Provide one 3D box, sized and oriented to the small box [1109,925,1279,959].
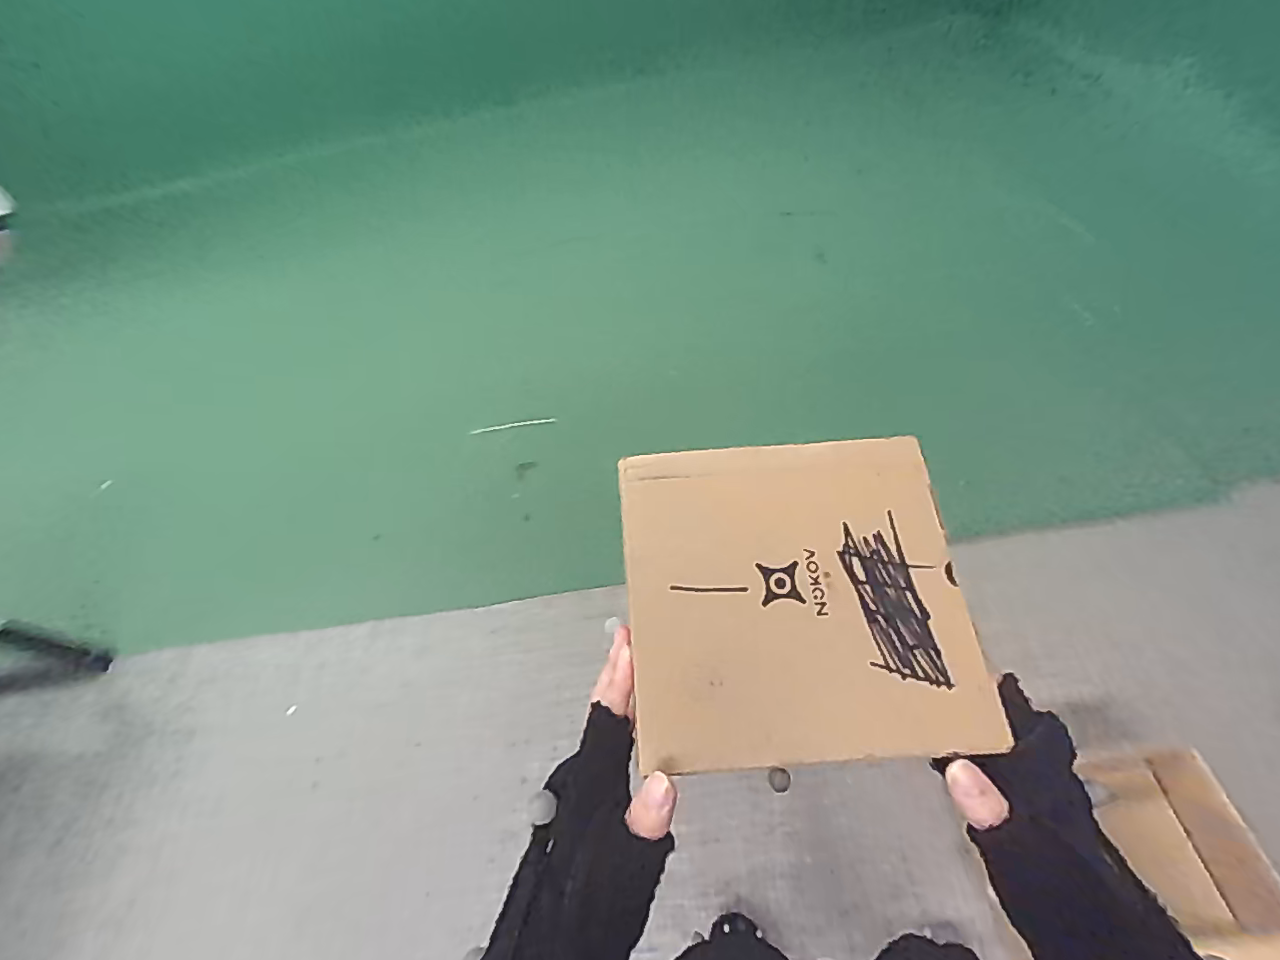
[{"bbox_3d":[0.791,0.720,0.727,0.179,0.176,0.168,-8,56,3],"label":"small box"}]
